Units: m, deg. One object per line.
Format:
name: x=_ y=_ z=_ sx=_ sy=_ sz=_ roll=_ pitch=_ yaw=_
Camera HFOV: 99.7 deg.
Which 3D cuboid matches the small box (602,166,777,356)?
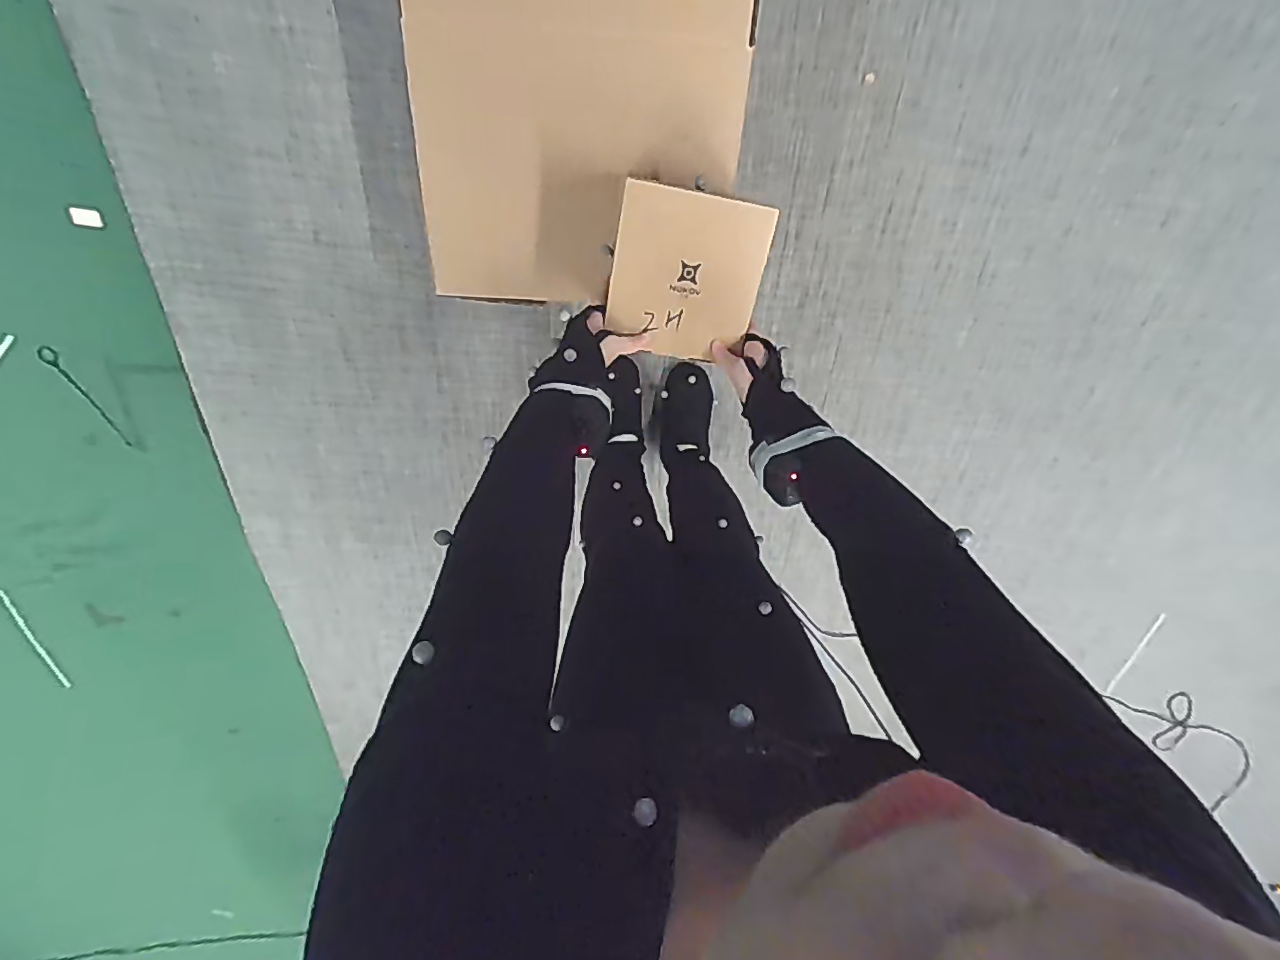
small box: x=0.045 y=-0.272 z=0.663 sx=0.168 sy=0.176 sz=0.179 roll=7 pitch=120 yaw=-8
